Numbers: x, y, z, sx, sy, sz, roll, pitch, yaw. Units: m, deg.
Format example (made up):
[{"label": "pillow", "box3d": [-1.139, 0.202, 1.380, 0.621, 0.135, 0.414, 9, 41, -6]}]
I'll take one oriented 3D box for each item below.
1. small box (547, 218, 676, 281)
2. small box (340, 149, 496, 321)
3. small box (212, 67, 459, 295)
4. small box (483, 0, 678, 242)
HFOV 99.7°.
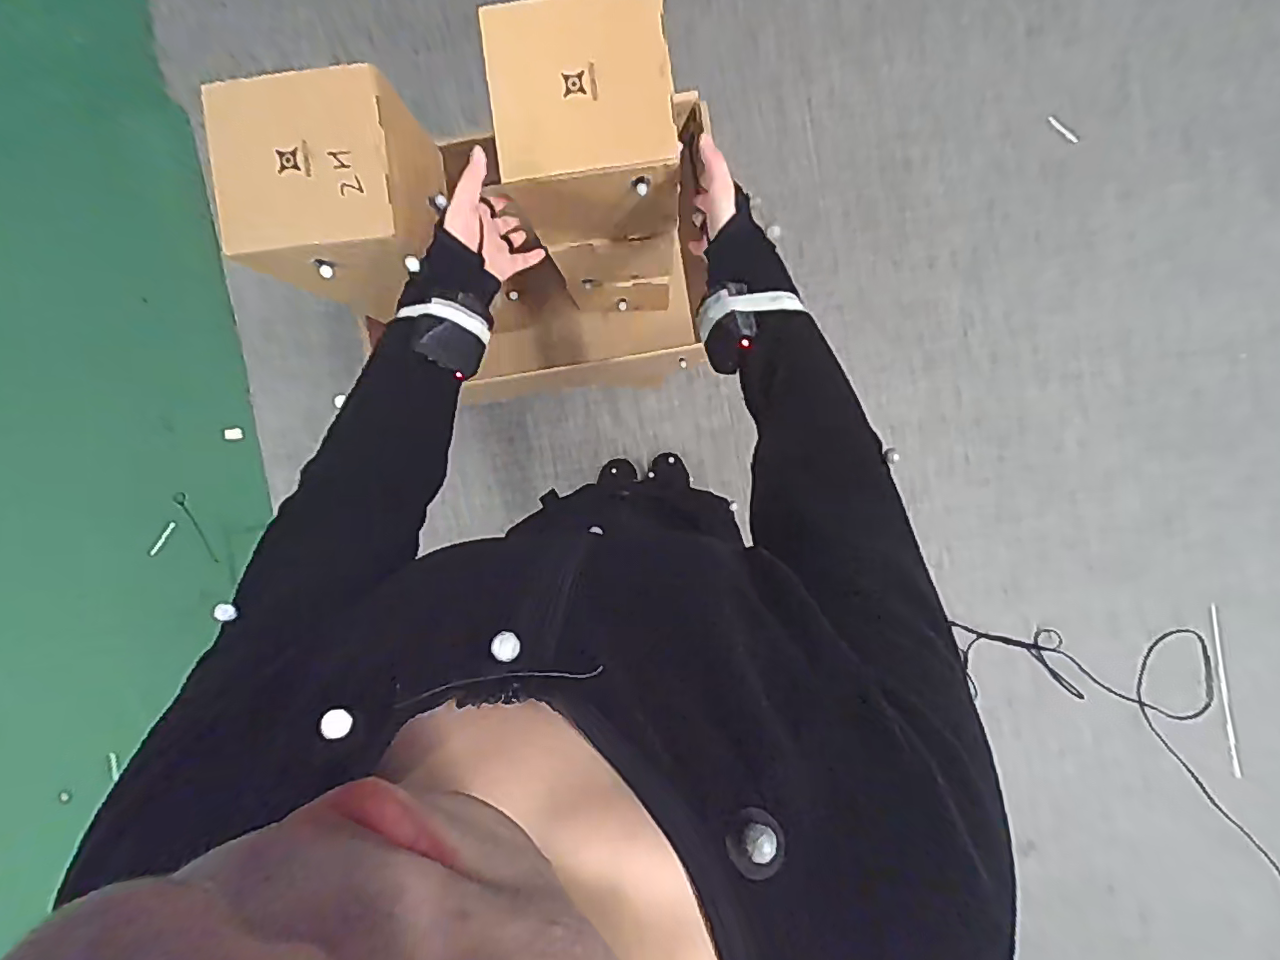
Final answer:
[{"label": "small box", "box3d": [-0.038, -0.390, 0.757, 0.168, 0.176, 0.179, -6, 93, 4]}, {"label": "small box", "box3d": [-0.319, -0.336, 0.777, 0.168, 0.176, 0.179, -8, 93, 3]}, {"label": "small box", "box3d": [-0.328, -0.318, 0.614, 0.179, 0.176, 0.168, -5, 94, 3]}, {"label": "small box", "box3d": [-0.052, -0.382, 0.595, 0.179, 0.176, 0.168, -7, 93, 3]}]
